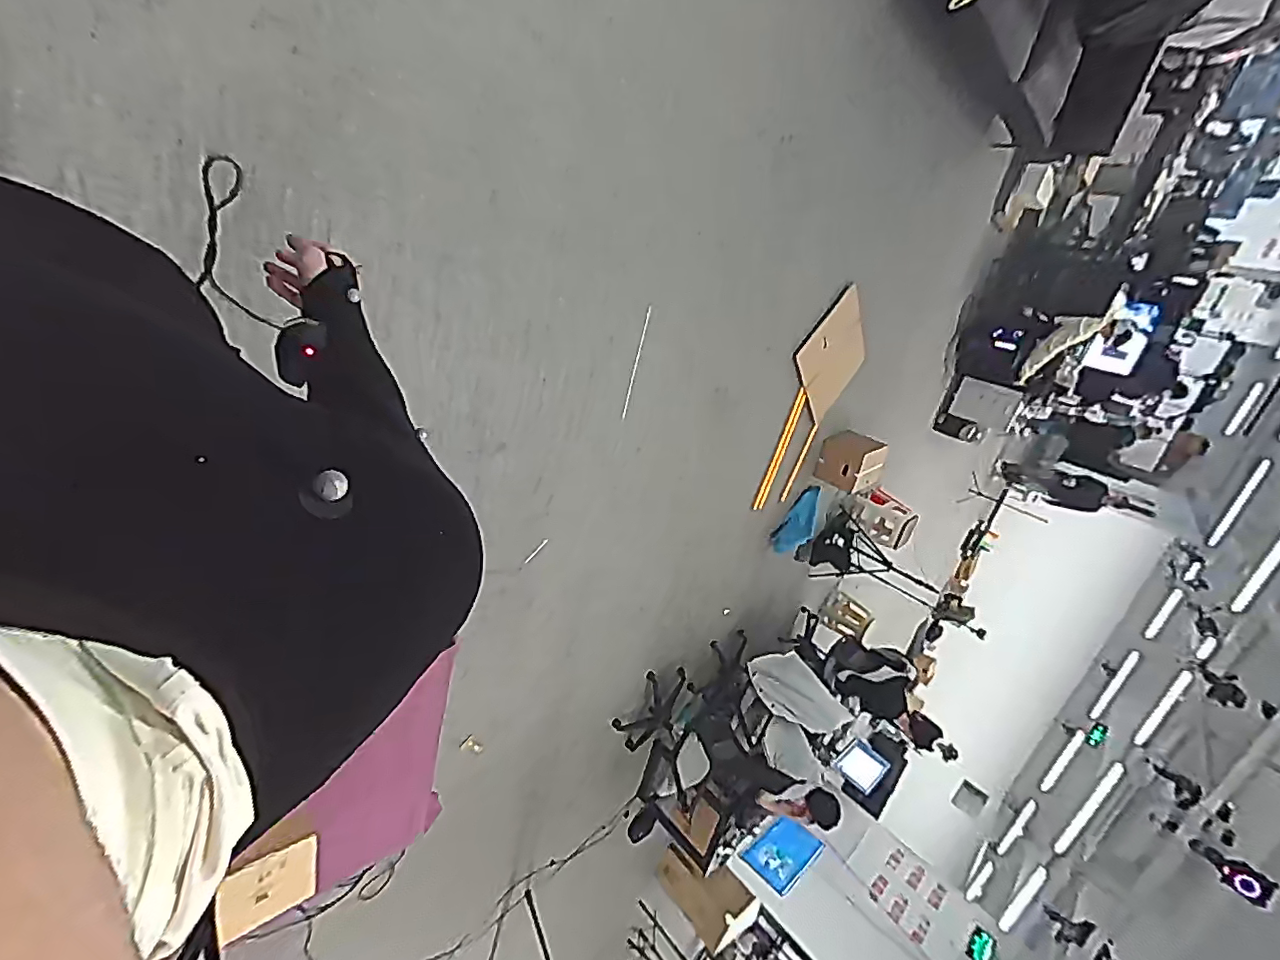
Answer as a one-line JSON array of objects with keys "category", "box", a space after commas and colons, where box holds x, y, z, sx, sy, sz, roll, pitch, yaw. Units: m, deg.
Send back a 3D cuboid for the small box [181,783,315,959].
[{"category": "small box", "box": [-0.703, 0.697, 0.971, 0.168, 0.176, 0.179, -8, 119, -46]}]
